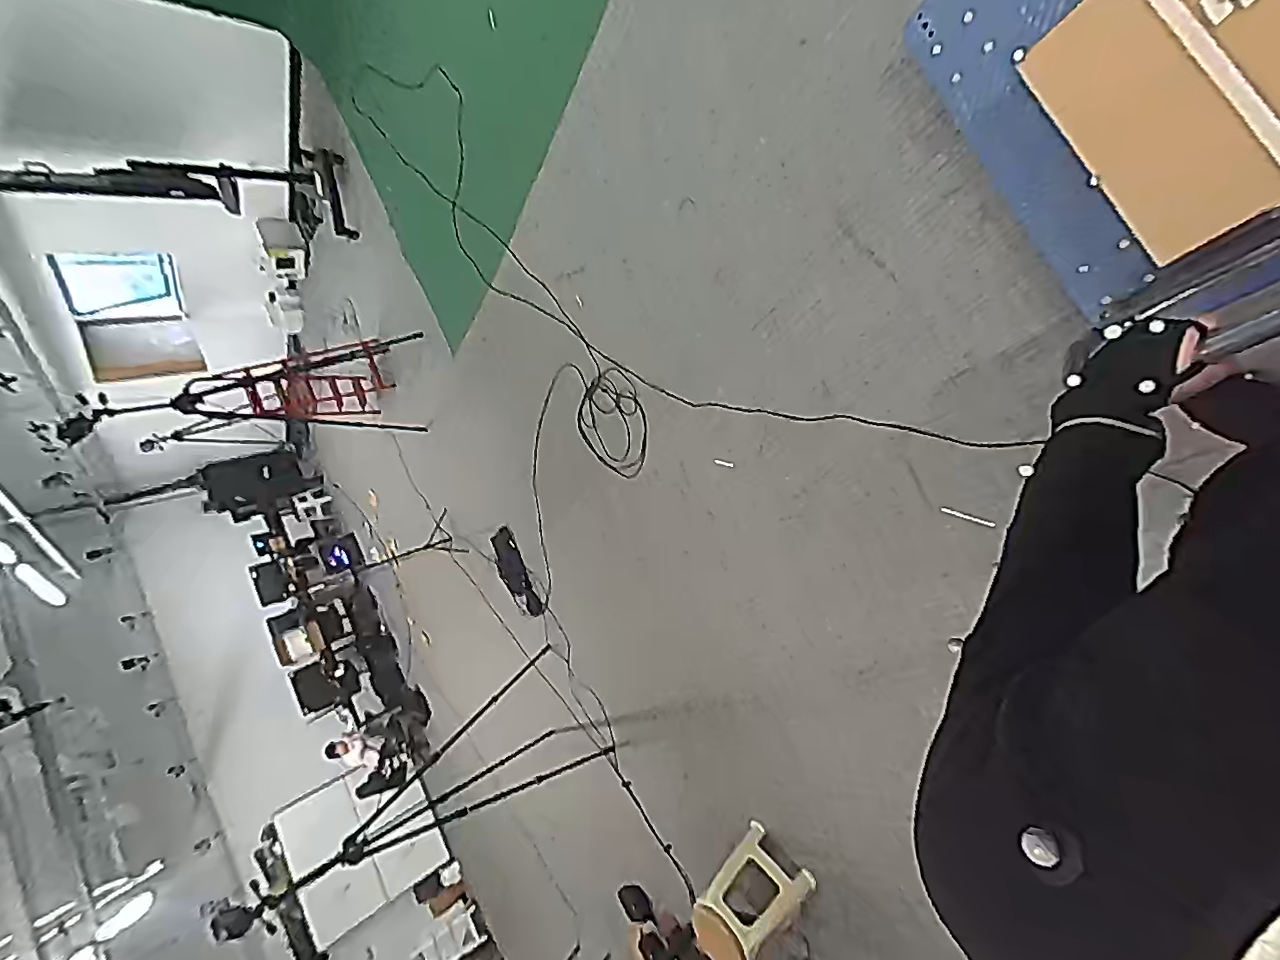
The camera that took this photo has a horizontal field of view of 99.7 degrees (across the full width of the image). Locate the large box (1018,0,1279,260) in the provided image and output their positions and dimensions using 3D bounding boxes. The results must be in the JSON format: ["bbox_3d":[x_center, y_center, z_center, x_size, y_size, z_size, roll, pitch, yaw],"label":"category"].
[{"bbox_3d":[0.892,-0.601,0.828,0.320,0.320,0.408,-36,76,49],"label":"large box"}]
